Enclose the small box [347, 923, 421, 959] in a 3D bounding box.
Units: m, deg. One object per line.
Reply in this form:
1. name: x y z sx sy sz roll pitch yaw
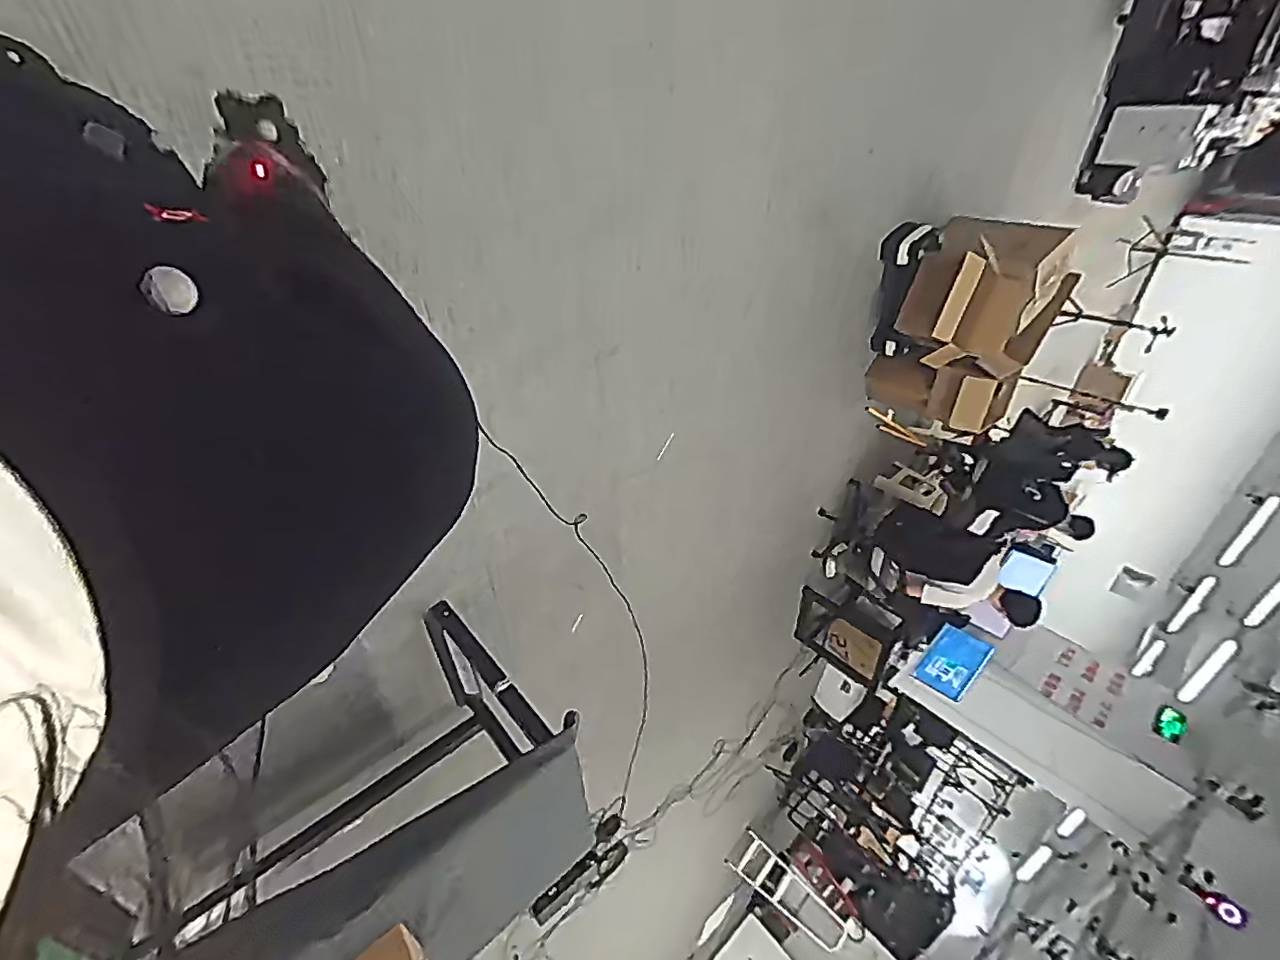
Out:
1. small box: -0.561 1.121 1.169 0.179 0.176 0.168 -28 132 -31
